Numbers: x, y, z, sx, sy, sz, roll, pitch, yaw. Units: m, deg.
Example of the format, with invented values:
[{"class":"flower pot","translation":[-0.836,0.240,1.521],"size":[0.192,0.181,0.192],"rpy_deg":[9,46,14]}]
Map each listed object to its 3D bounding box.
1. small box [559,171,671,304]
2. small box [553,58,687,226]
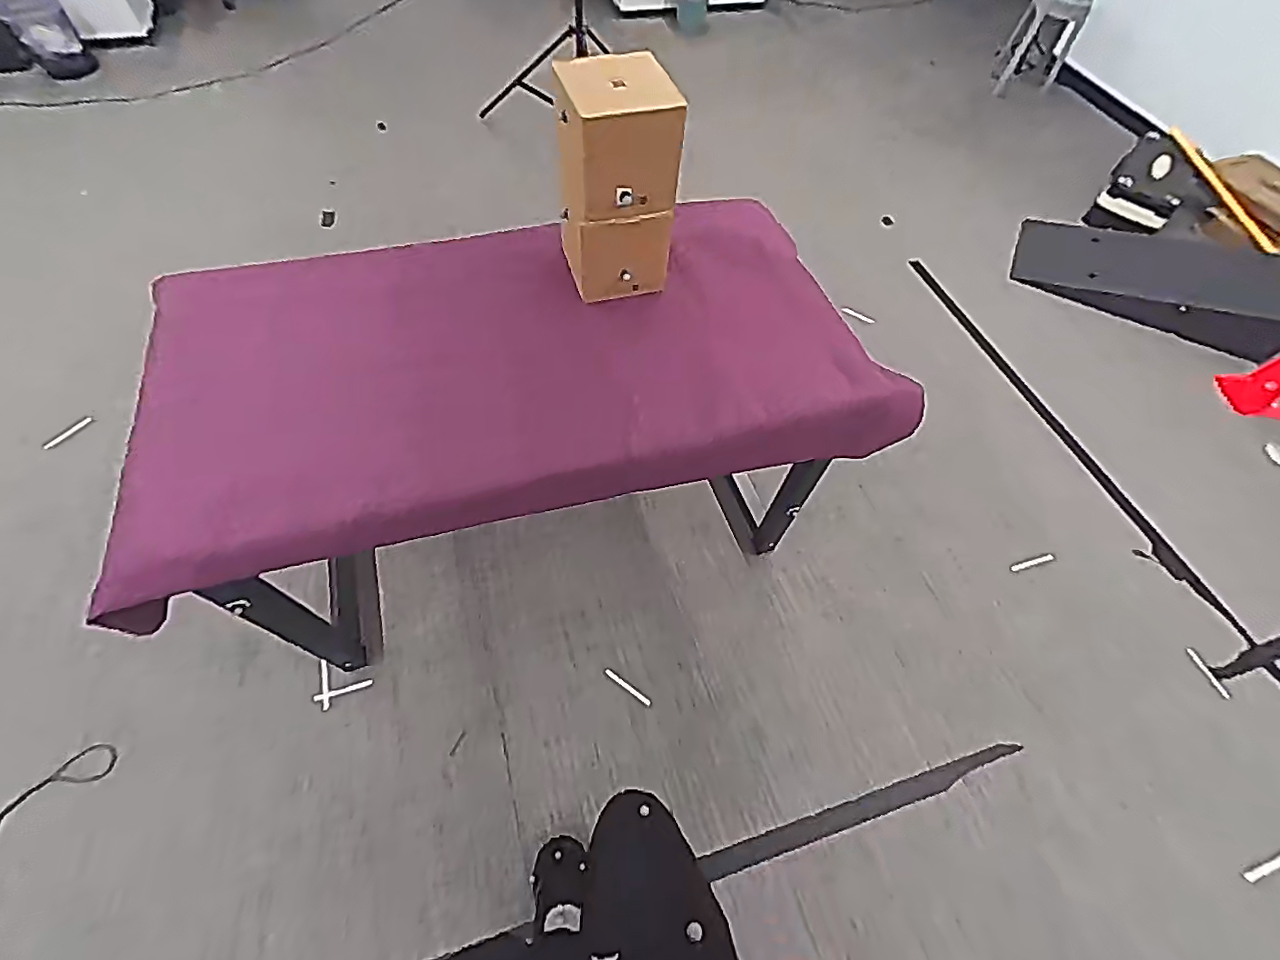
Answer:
[{"class":"small box","translation":[-0.053,-0.464,1.025],"size":[0.168,0.176,0.179],"rpy_deg":[-14,62,-11]},{"class":"small box","translation":[-0.039,-0.552,0.889],"size":[0.168,0.176,0.179],"rpy_deg":[-16,63,-12]}]
